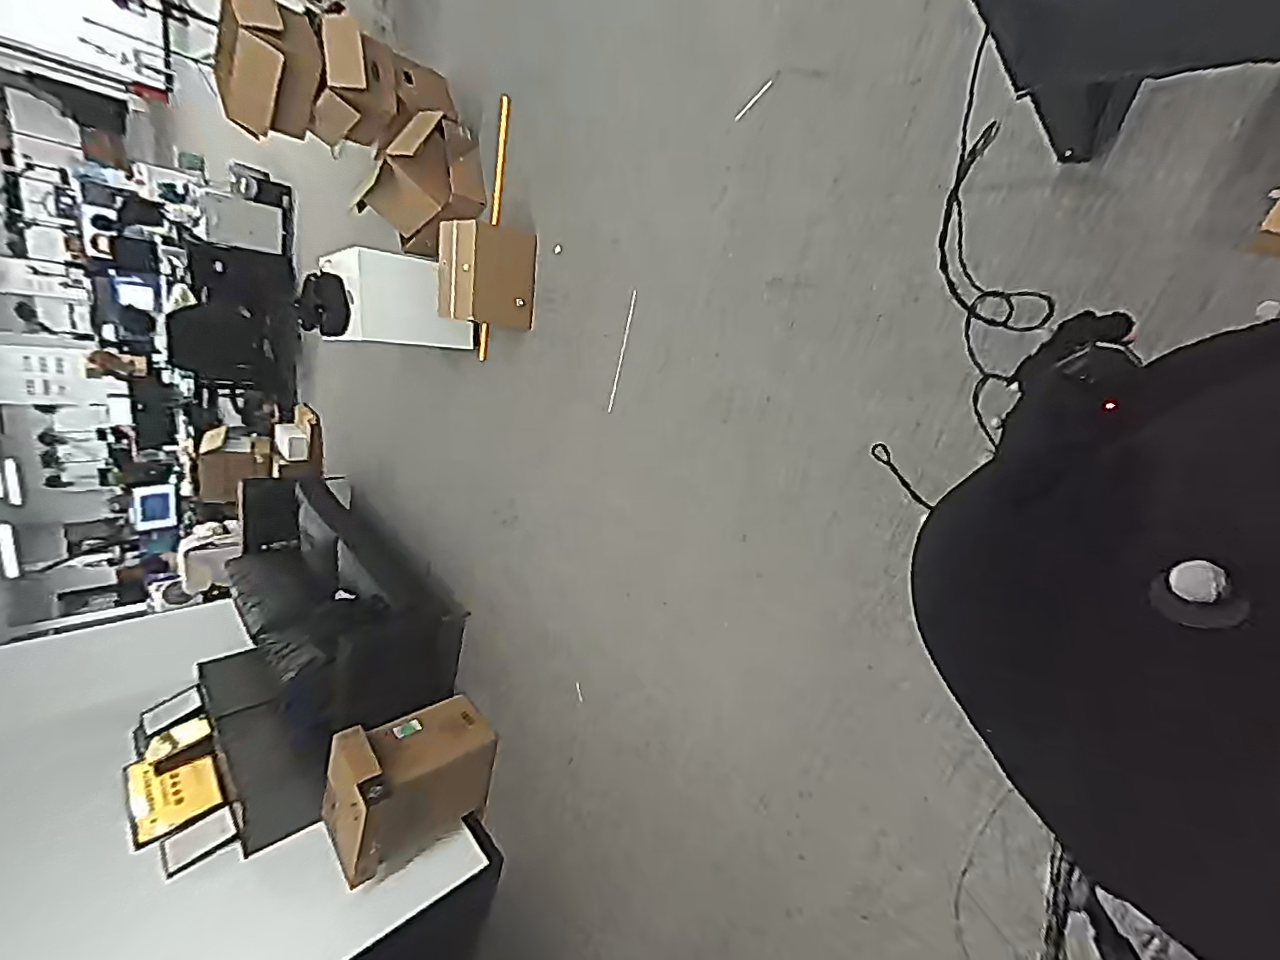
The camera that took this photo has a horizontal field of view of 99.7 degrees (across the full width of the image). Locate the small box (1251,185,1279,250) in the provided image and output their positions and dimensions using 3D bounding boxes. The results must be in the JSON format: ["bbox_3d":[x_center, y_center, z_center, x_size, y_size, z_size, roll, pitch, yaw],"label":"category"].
[{"bbox_3d":[1.126,-0.455,0.851,0.168,0.176,0.179,35,119,36],"label":"small box"}]
